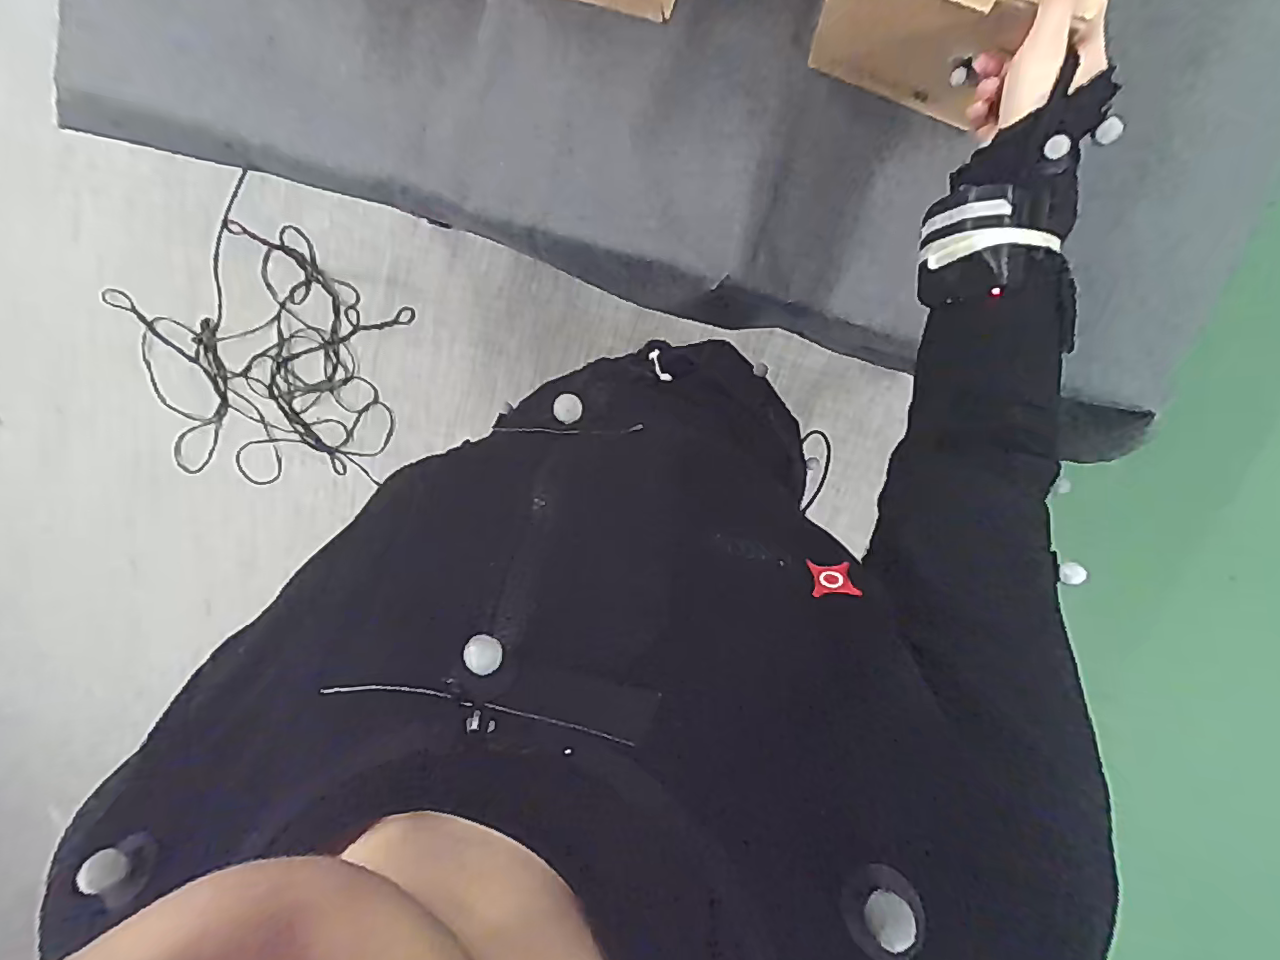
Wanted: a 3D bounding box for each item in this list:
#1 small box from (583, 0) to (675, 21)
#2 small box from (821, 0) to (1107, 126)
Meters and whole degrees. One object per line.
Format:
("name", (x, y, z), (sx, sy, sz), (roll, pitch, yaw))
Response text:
("small box", (-0.035, -0.515, 0.414), (0.168, 0.176, 0.179), (19, 106, 4))
("small box", (0.250, -0.403, 0.394), (0.168, 0.176, 0.179), (24, 104, 1))
